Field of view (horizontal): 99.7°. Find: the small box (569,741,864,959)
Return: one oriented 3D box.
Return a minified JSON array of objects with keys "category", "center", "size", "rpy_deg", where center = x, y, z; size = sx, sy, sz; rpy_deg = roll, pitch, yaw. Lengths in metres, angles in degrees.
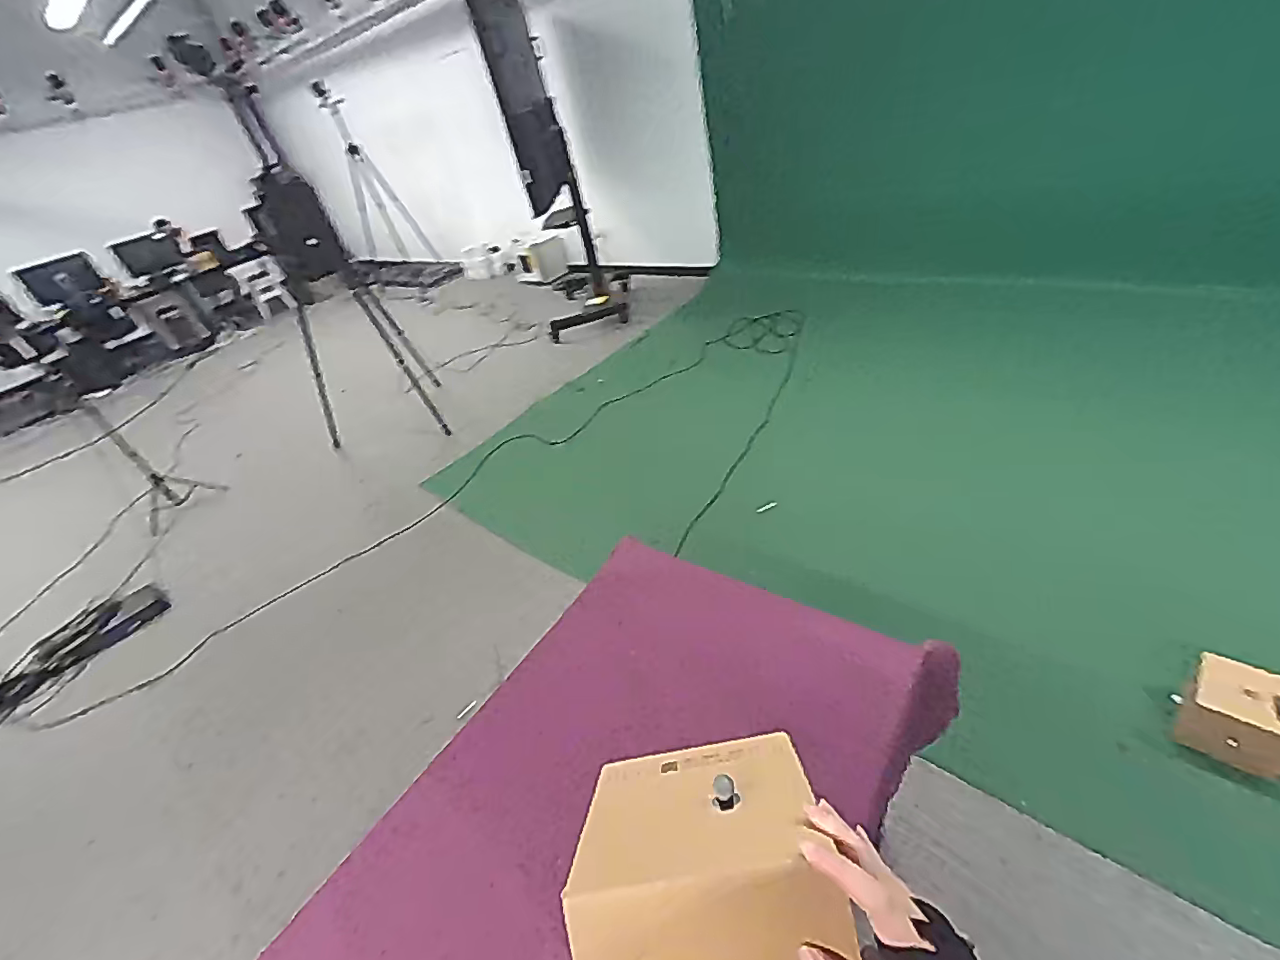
[{"category":"small box","center":[0.058,0.312,0.390],"size":[0.168,0.179,0.176],"rpy_deg":[-12,-2,5]}]

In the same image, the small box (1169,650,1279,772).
[{"category":"small box","center":[1.380,0.538,1.251],"size":[0.179,0.176,0.168],"rpy_deg":[19,49,39]}]
